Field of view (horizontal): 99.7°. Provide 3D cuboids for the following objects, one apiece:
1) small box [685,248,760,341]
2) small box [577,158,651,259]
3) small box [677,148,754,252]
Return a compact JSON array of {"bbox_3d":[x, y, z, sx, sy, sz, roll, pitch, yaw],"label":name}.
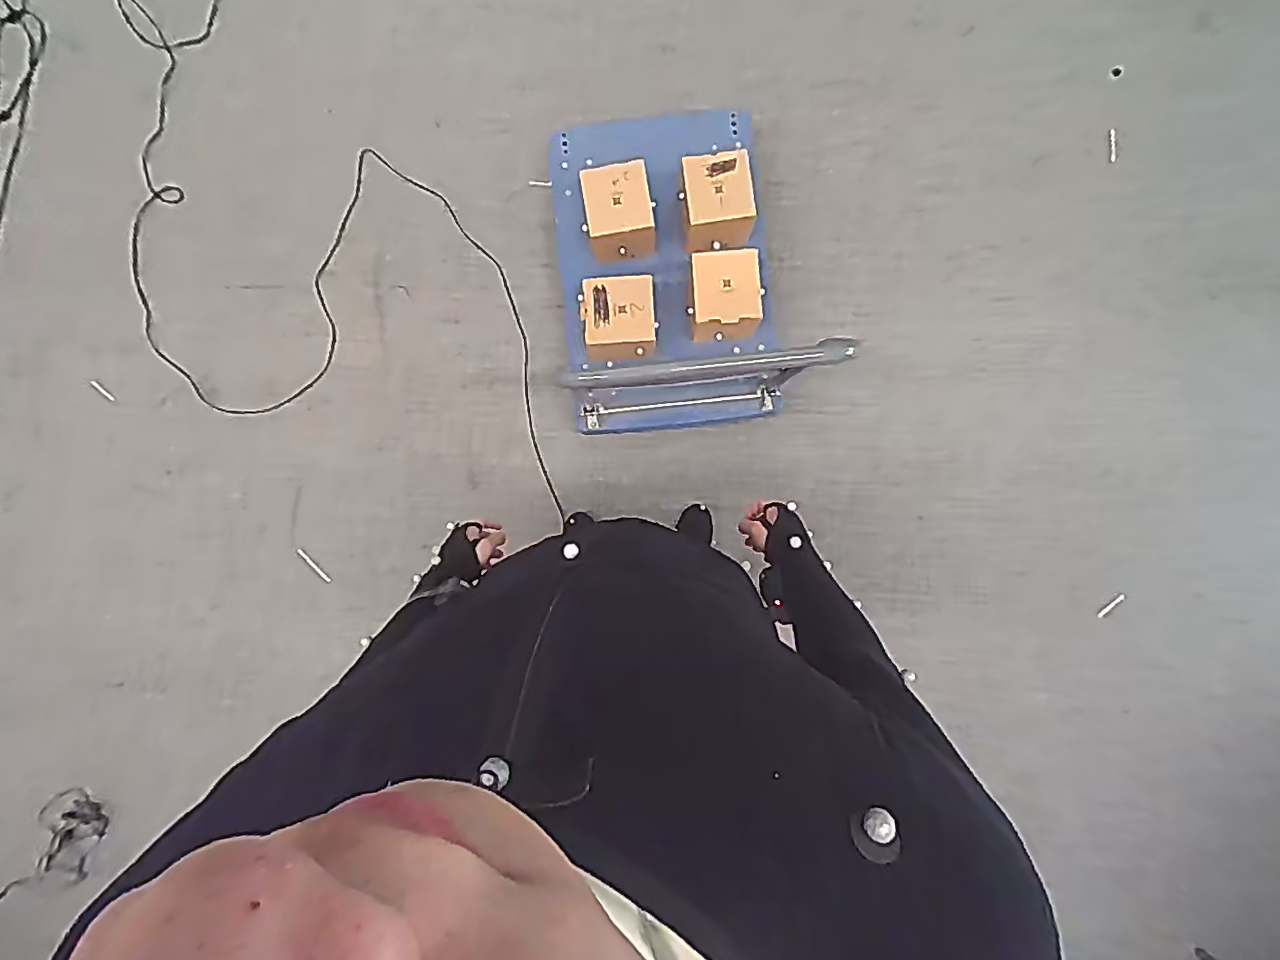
[{"bbox_3d":[0.209,-0.477,1.409,0.168,0.176,0.179,-4,87,1],"label":"small box"},{"bbox_3d":[-0.063,-0.698,1.417,0.168,0.176,0.179,-9,88,0],"label":"small box"},{"bbox_3d":[0.191,-0.725,1.414,0.168,0.176,0.179,-8,89,1],"label":"small box"}]
